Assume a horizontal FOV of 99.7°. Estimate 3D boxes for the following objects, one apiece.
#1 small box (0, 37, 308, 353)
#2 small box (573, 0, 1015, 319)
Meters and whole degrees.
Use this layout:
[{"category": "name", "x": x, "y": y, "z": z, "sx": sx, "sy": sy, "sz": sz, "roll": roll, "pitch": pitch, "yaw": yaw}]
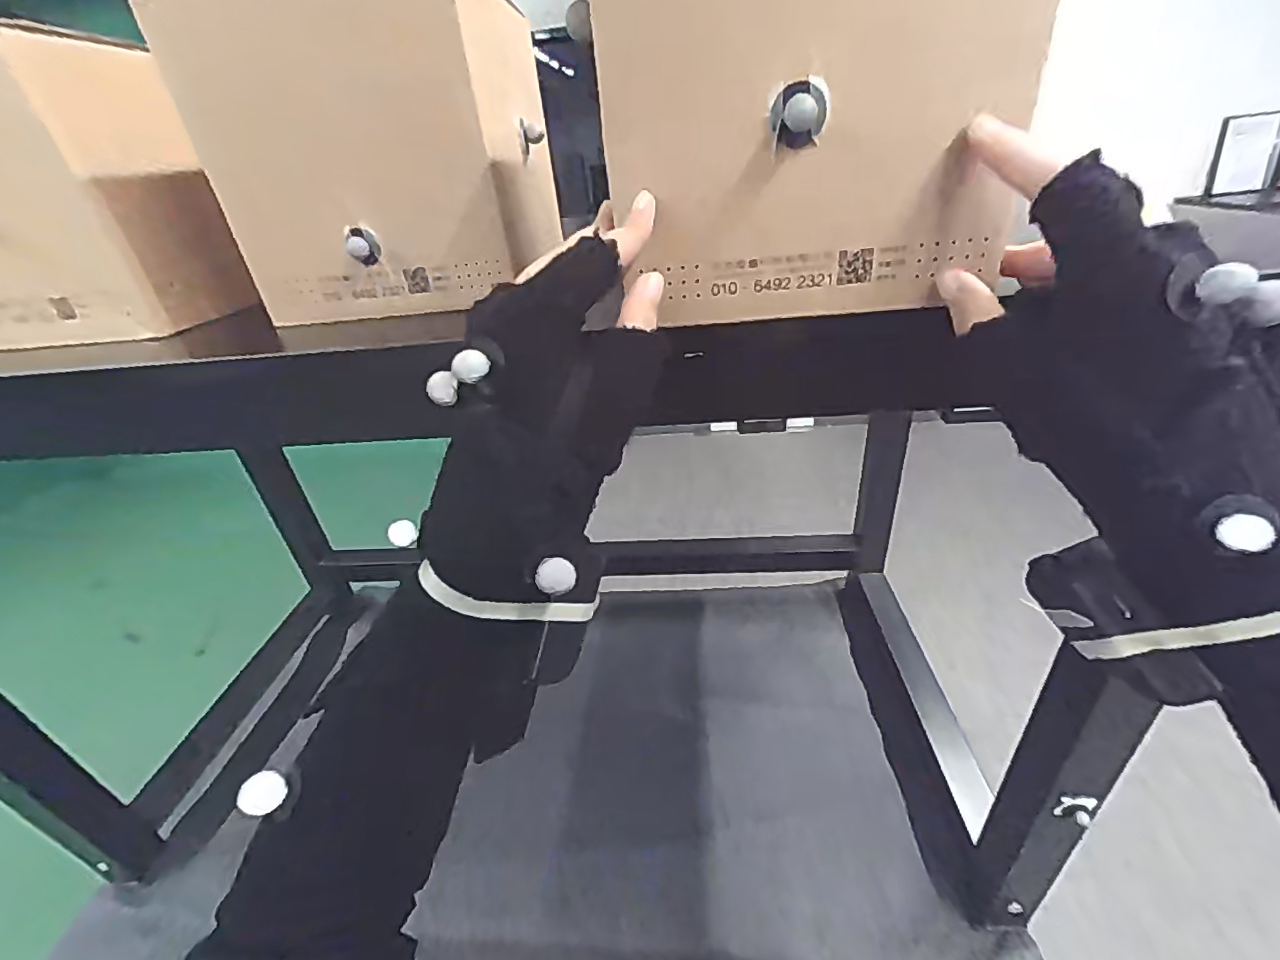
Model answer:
[{"category": "small box", "x": -0.395, "y": -0.198, "z": 0.404, "sx": 0.168, "sy": 0.176, "sz": 0.179, "roll": -2, "pitch": 31, "yaw": 8}, {"category": "small box", "x": 0.070, "y": -0.187, "z": 0.285, "sx": 0.168, "sy": 0.176, "sz": 0.179, "roll": -2, "pitch": 31, "yaw": 8}]
